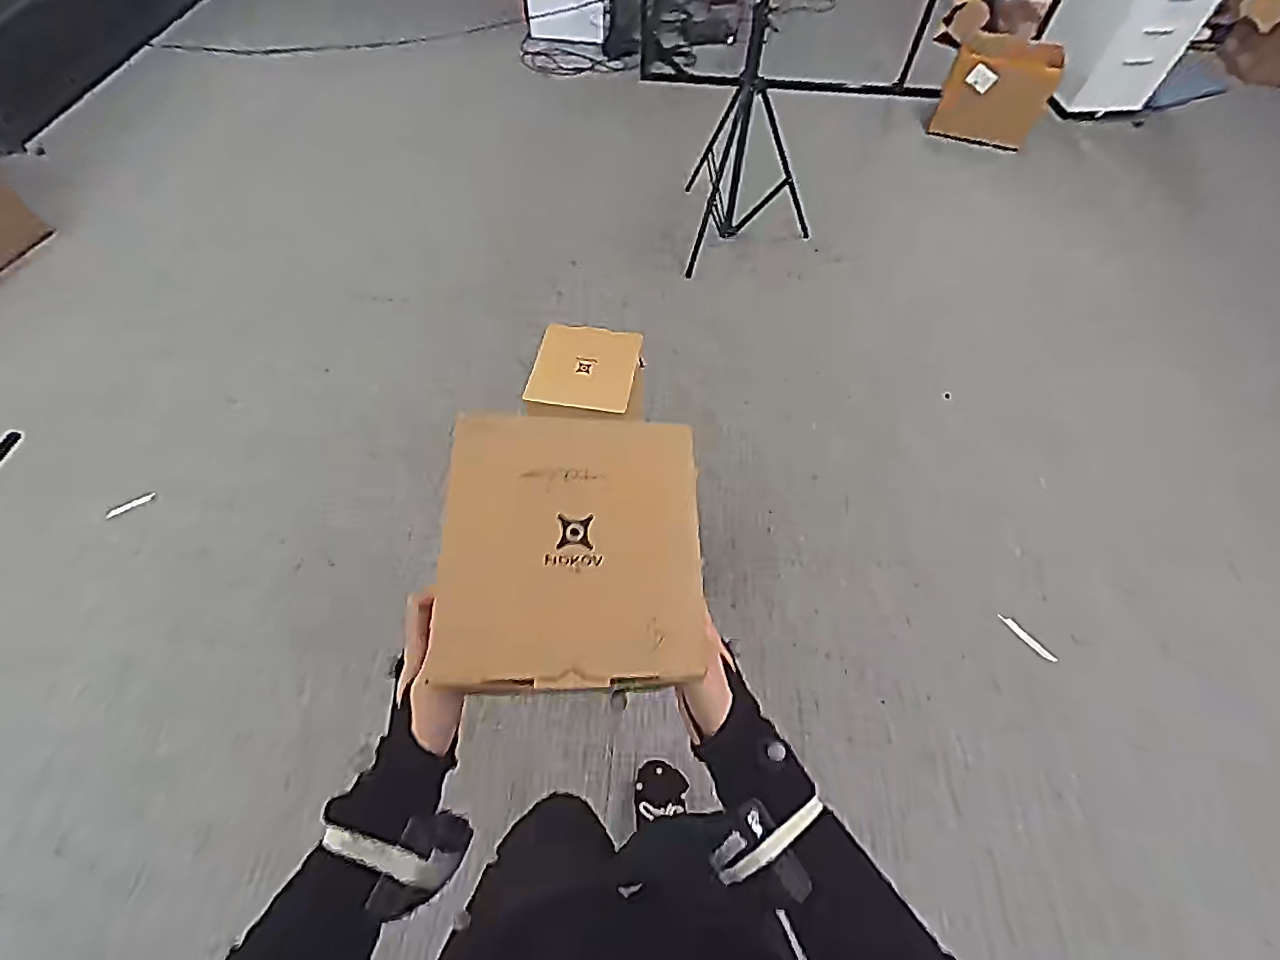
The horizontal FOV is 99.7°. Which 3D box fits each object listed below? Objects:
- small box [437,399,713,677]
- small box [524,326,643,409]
[{"bbox_3d":[-0.050,0.058,0.420,0.168,0.176,0.179,2,67,-10],"label":"small box"},{"bbox_3d":[-0.087,-0.139,0.940,0.168,0.176,0.179,8,58,4],"label":"small box"}]
